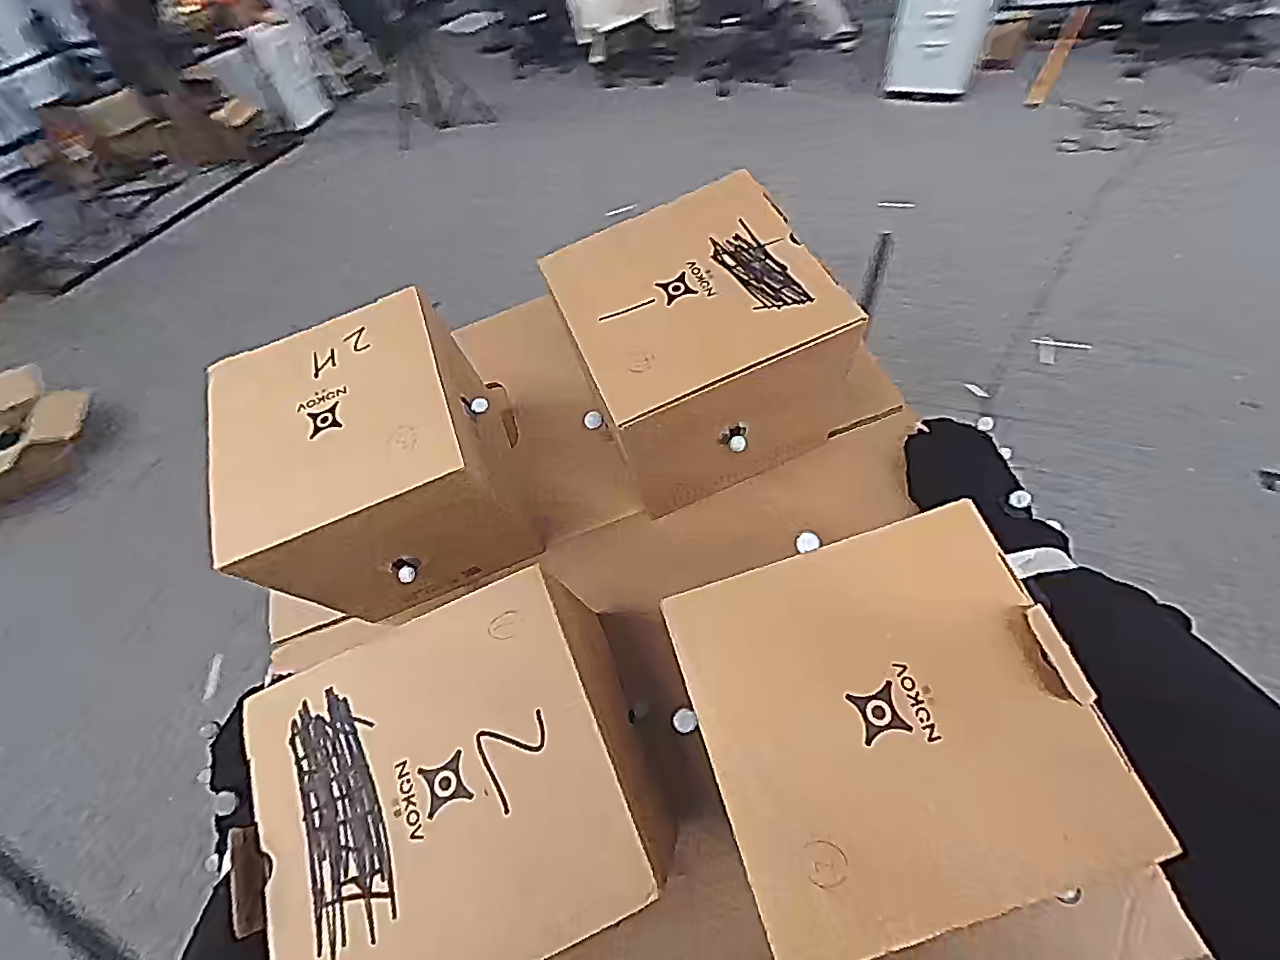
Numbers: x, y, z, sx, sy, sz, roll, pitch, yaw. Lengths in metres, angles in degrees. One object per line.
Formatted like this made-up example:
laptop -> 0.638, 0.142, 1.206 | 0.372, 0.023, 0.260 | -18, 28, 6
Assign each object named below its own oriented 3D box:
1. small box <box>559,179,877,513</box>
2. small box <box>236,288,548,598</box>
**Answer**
small box -> 0.056, -0.097, 0.446 | 0.179, 0.176, 0.168 | -23, 63, 0
small box -> -0.191, -0.015, 0.449 | 0.168, 0.176, 0.179 | -21, 63, -1
